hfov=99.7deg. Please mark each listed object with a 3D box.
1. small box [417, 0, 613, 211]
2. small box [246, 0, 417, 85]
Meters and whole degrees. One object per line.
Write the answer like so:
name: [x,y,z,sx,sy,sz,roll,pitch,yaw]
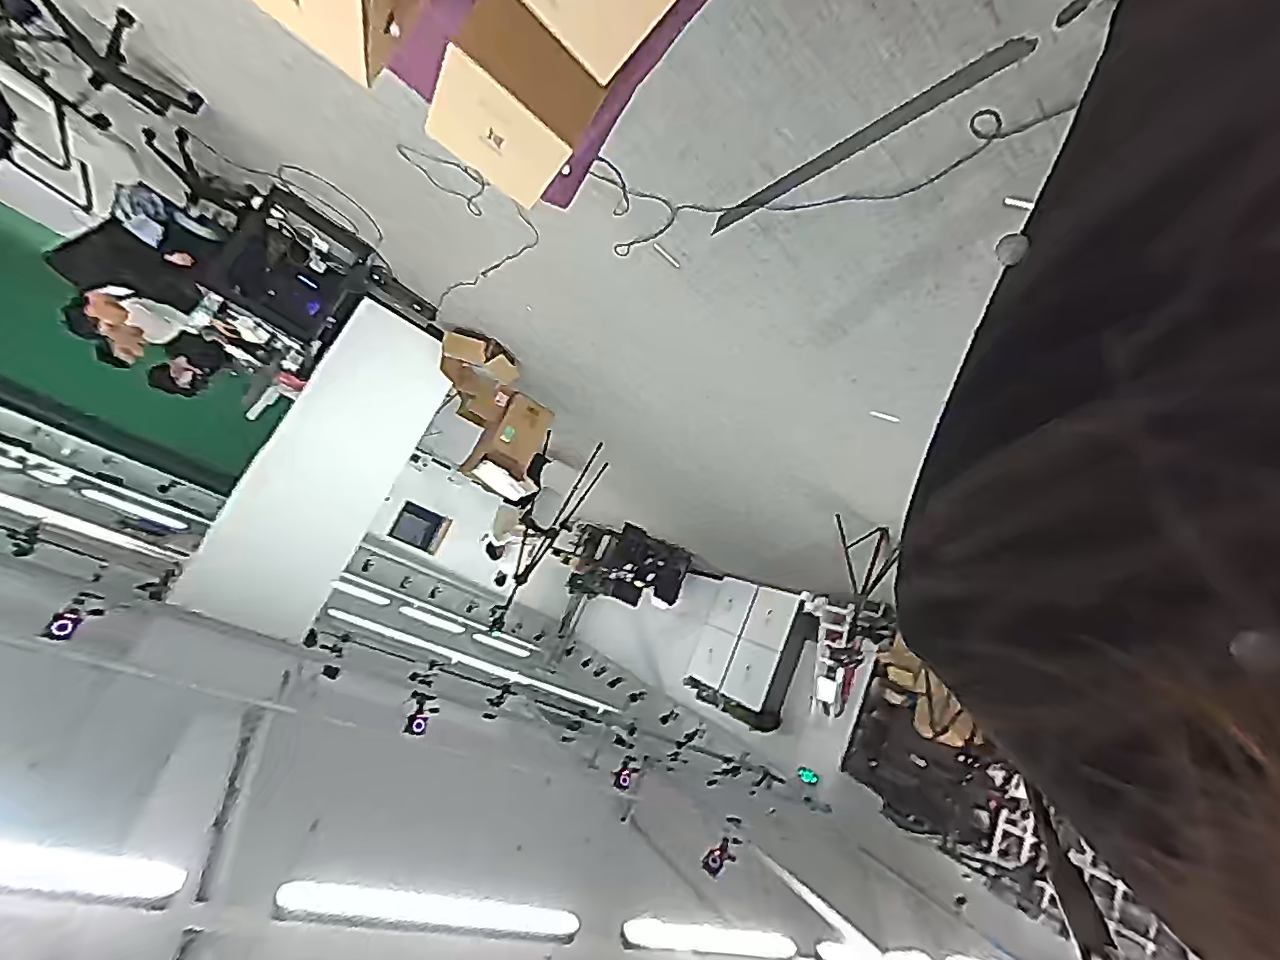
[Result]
small box: [-0.161,-0.502,0.703,0.168,0.176,0.179,31,165,-27]
small box: [-0.351,-0.614,0.603,0.168,0.176,0.179,30,165,-25]
